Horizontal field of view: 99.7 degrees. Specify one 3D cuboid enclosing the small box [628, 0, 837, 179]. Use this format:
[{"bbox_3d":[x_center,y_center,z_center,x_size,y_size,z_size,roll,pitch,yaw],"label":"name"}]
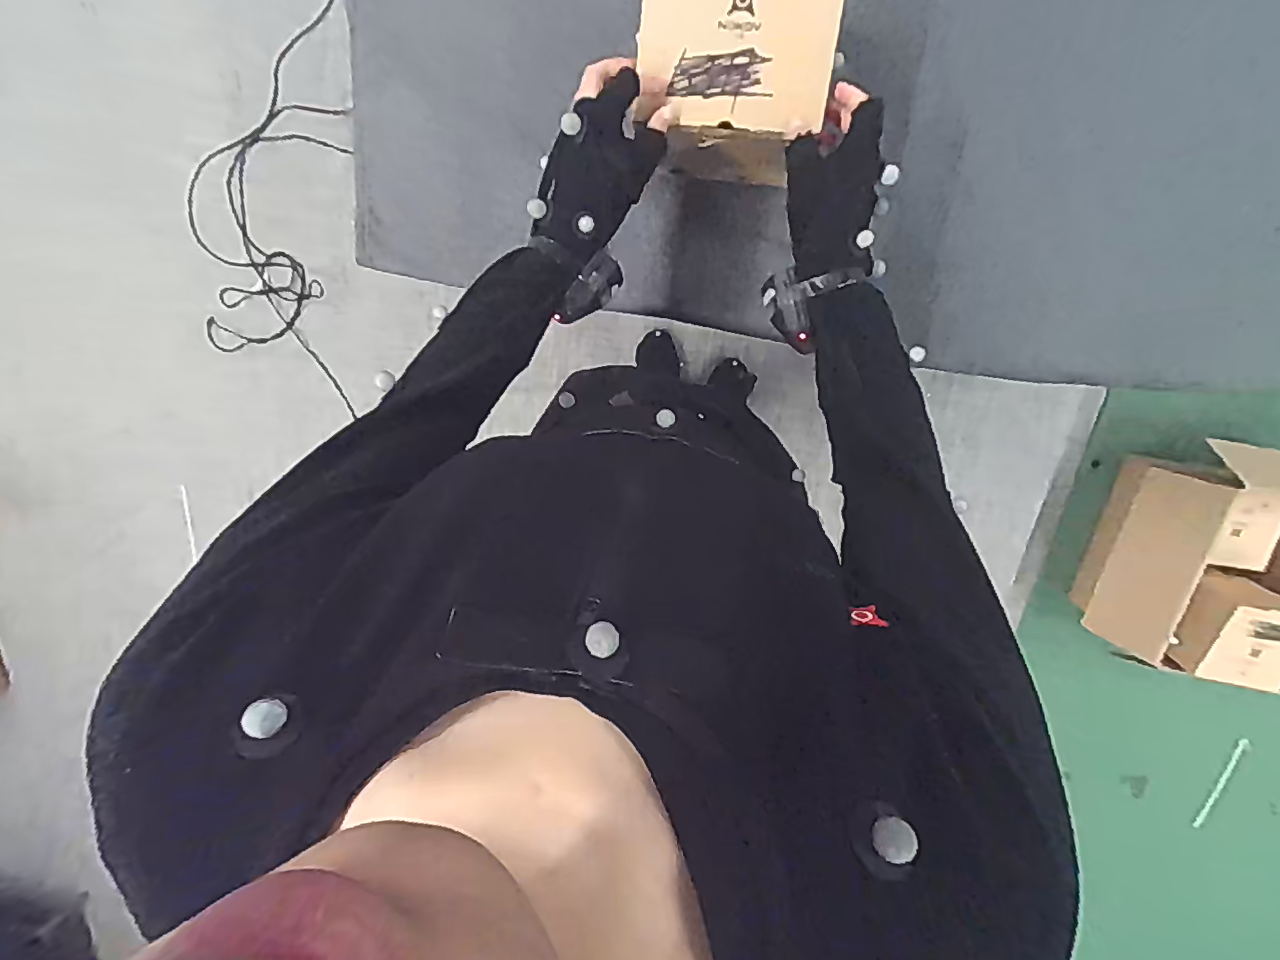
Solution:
[{"bbox_3d":[0.089,-0.409,0.521,0.168,0.176,0.179,8,106,5],"label":"small box"}]
